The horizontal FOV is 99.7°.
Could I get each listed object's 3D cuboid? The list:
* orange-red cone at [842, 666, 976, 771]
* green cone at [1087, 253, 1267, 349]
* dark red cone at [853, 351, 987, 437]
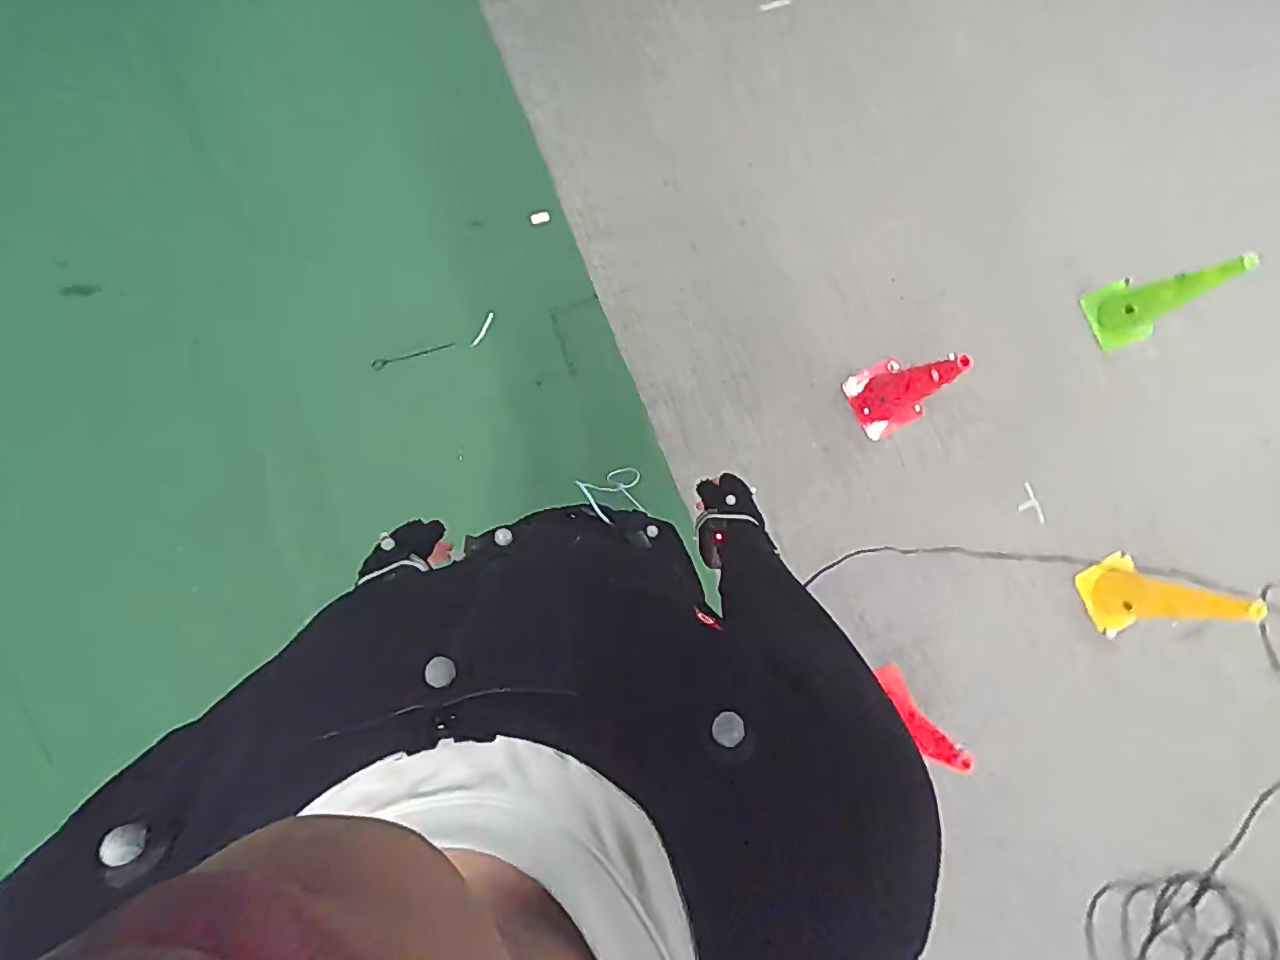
[{"bbox_3d":[0.698,0.628,1.348,0.199,0.360,0.198,-22,88,-8],"label":"orange-red cone"},{"bbox_3d":[1.538,-0.544,1.536,0.200,0.368,0.202,-24,89,-7],"label":"green cone"},{"bbox_3d":[0.749,-0.261,1.411,0.201,0.394,0.202,-27,88,-6],"label":"dark red cone"}]
